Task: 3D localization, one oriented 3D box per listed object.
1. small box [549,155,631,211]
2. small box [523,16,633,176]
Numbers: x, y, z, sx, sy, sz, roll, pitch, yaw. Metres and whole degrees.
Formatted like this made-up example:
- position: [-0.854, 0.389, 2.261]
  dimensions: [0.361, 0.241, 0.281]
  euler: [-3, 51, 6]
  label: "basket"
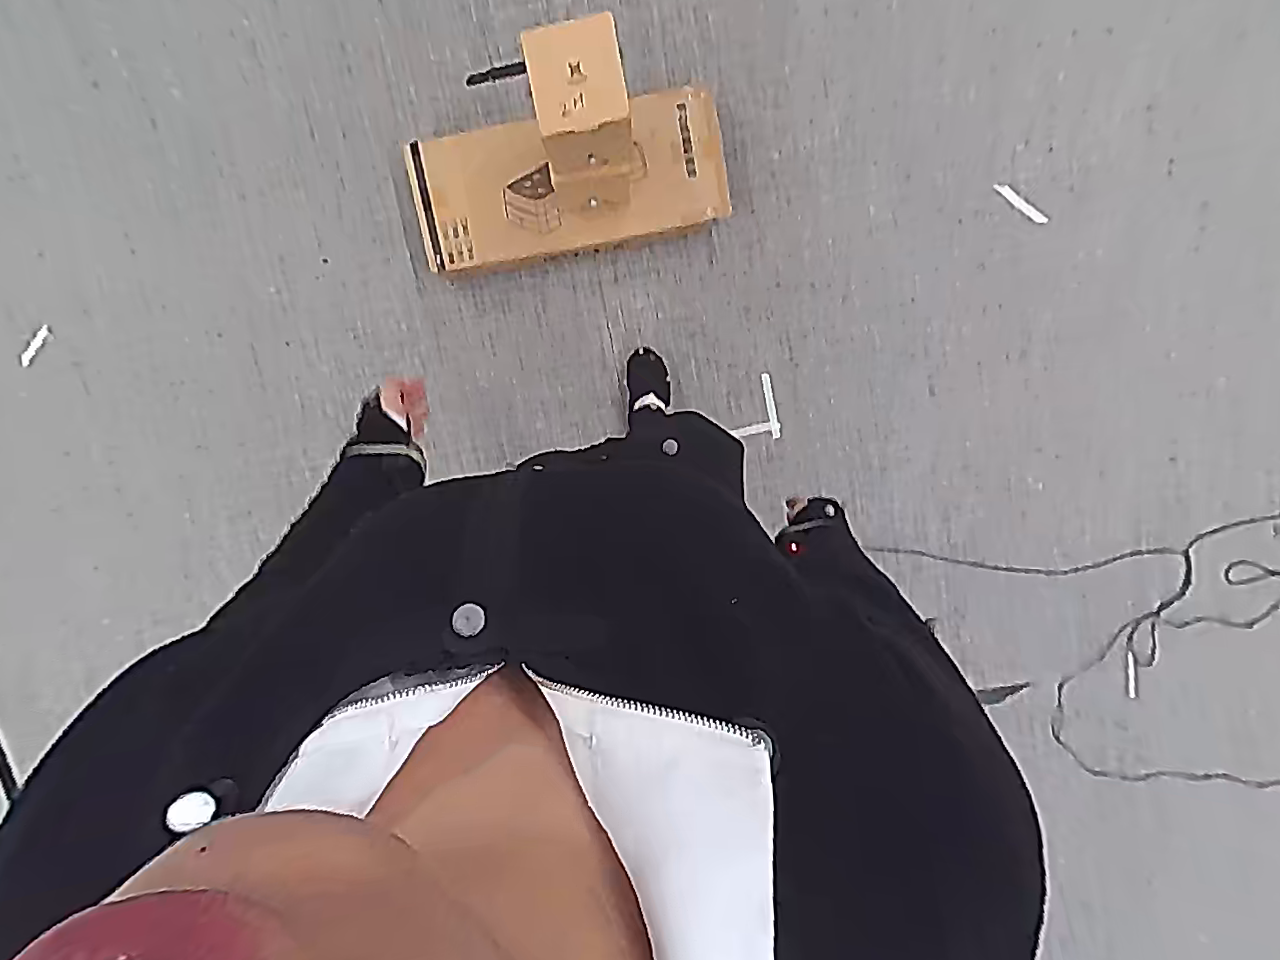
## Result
- position: [-0.111, -0.722, 1.192]
  dimensions: [0.168, 0.176, 0.179]
  euler: [-6, 98, 2]
  label: "small box"
- position: [-0.110, -0.715, 1.026]
  dimensions: [0.168, 0.176, 0.179]
  euler: [-10, 97, 3]
  label: "small box"
